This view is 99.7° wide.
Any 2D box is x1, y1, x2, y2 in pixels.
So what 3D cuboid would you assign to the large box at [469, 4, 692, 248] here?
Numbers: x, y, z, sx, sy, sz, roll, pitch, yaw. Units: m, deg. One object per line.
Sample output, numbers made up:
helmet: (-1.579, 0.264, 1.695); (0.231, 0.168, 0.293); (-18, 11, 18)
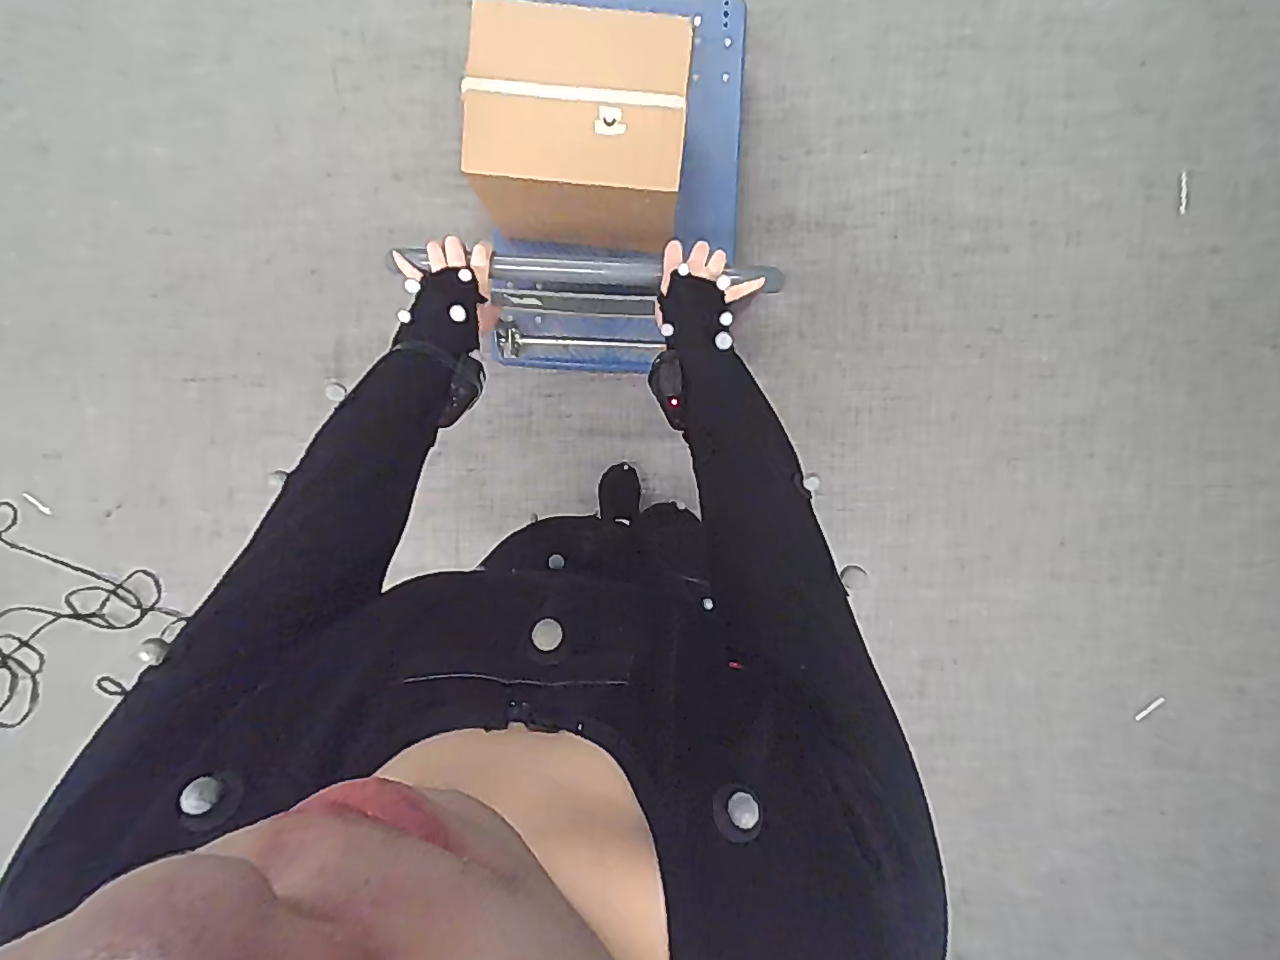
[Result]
large box: (-0.116, -0.718, 1.153); (0.408, 0.320, 0.320); (5, 93, -1)
